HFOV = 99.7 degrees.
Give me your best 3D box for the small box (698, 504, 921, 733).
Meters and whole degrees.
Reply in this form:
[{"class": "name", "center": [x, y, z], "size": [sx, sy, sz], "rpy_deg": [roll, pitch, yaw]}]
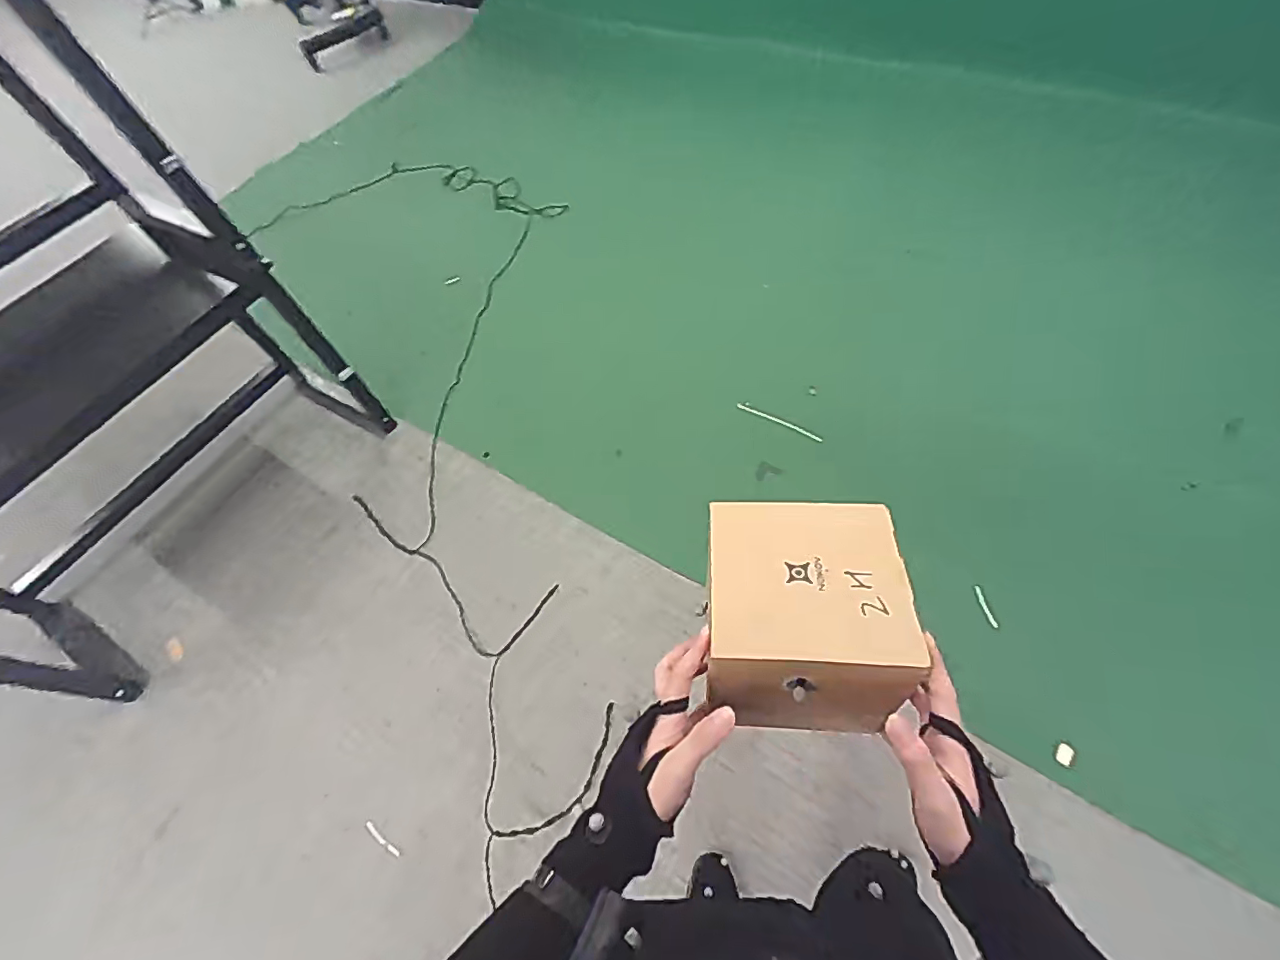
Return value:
[{"class": "small box", "center": [0.147, 0.140, 0.541], "size": [0.179, 0.176, 0.168], "rpy_deg": [1, 49, 6]}]
